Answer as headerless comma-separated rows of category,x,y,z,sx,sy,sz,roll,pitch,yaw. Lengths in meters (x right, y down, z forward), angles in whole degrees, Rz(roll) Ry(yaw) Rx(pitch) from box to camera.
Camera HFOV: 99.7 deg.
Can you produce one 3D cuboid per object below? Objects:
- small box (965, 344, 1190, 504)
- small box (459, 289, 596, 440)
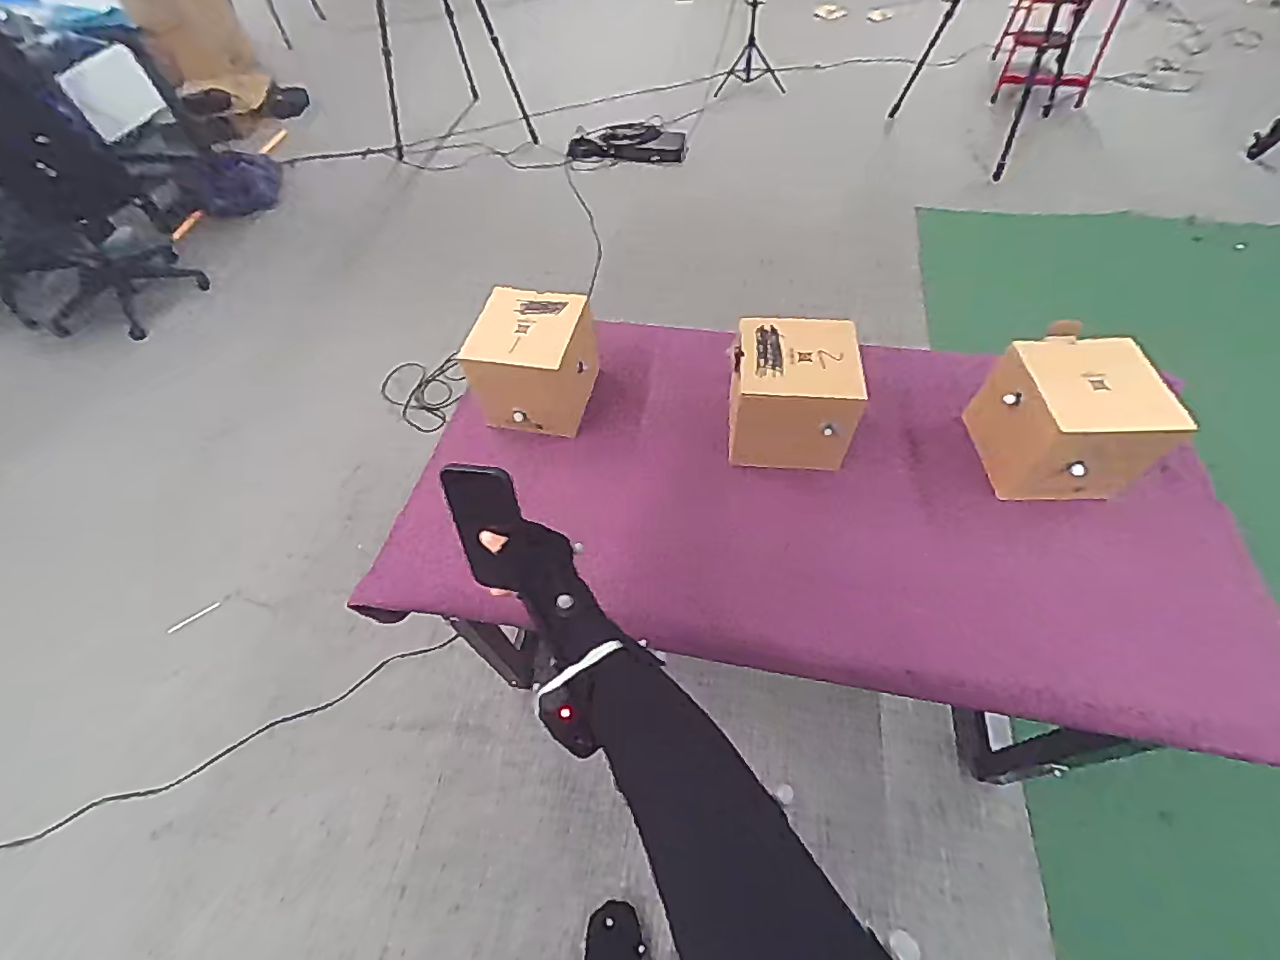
small box,0.617,-0.075,0.795,0.168,0.176,0.179,-1,54,3
small box,-0.178,-0.195,0.922,0.168,0.176,0.179,9,58,9
